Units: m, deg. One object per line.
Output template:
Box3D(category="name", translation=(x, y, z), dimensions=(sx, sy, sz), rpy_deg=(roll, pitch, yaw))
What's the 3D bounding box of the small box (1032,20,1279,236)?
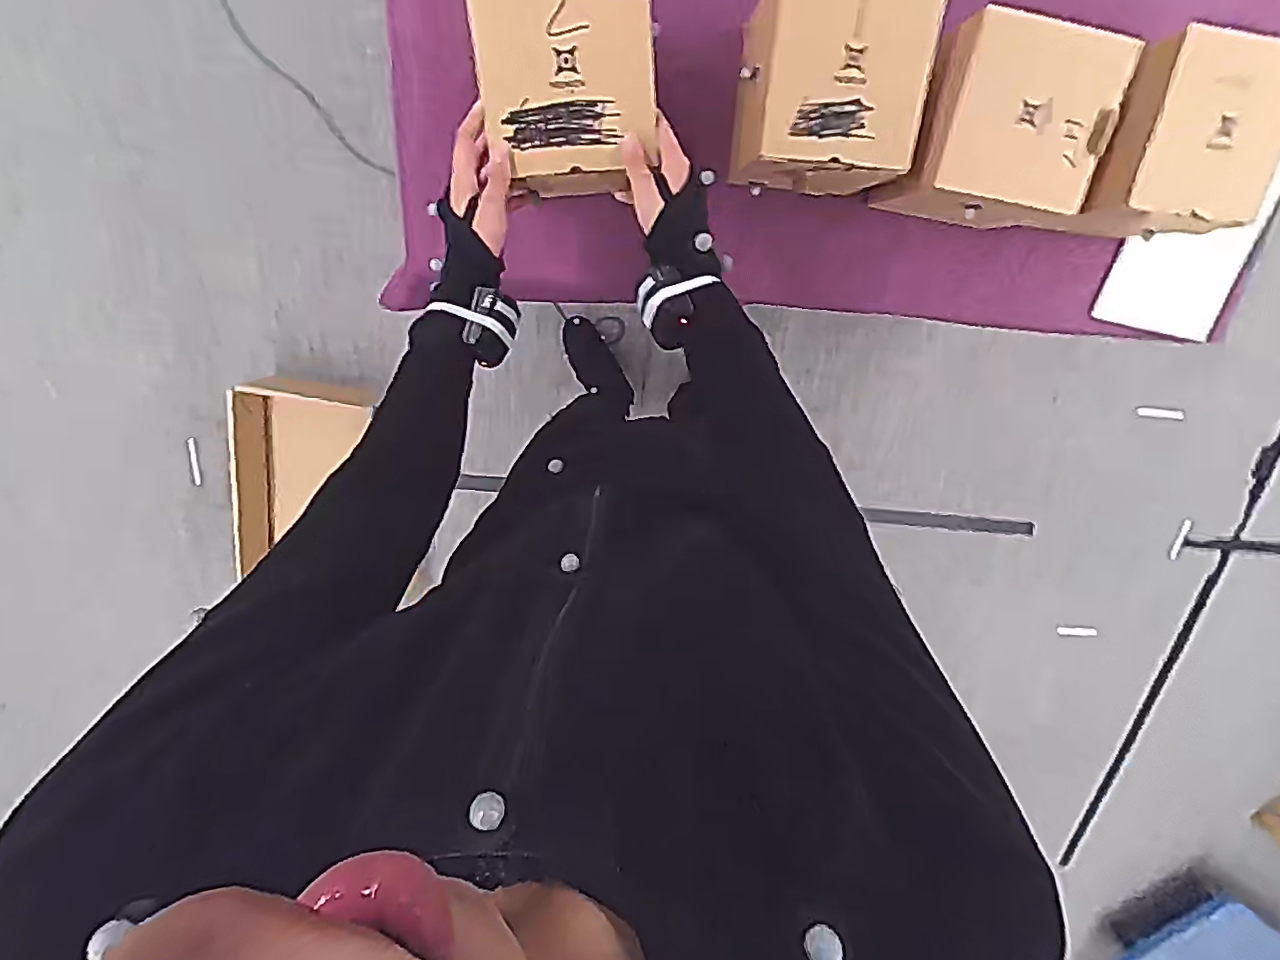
Box3D(category="small box", translation=(0.627, -0.403, 0.655), dimensions=(0.168, 0.176, 0.179), rpy_deg=(5, 109, -6))
